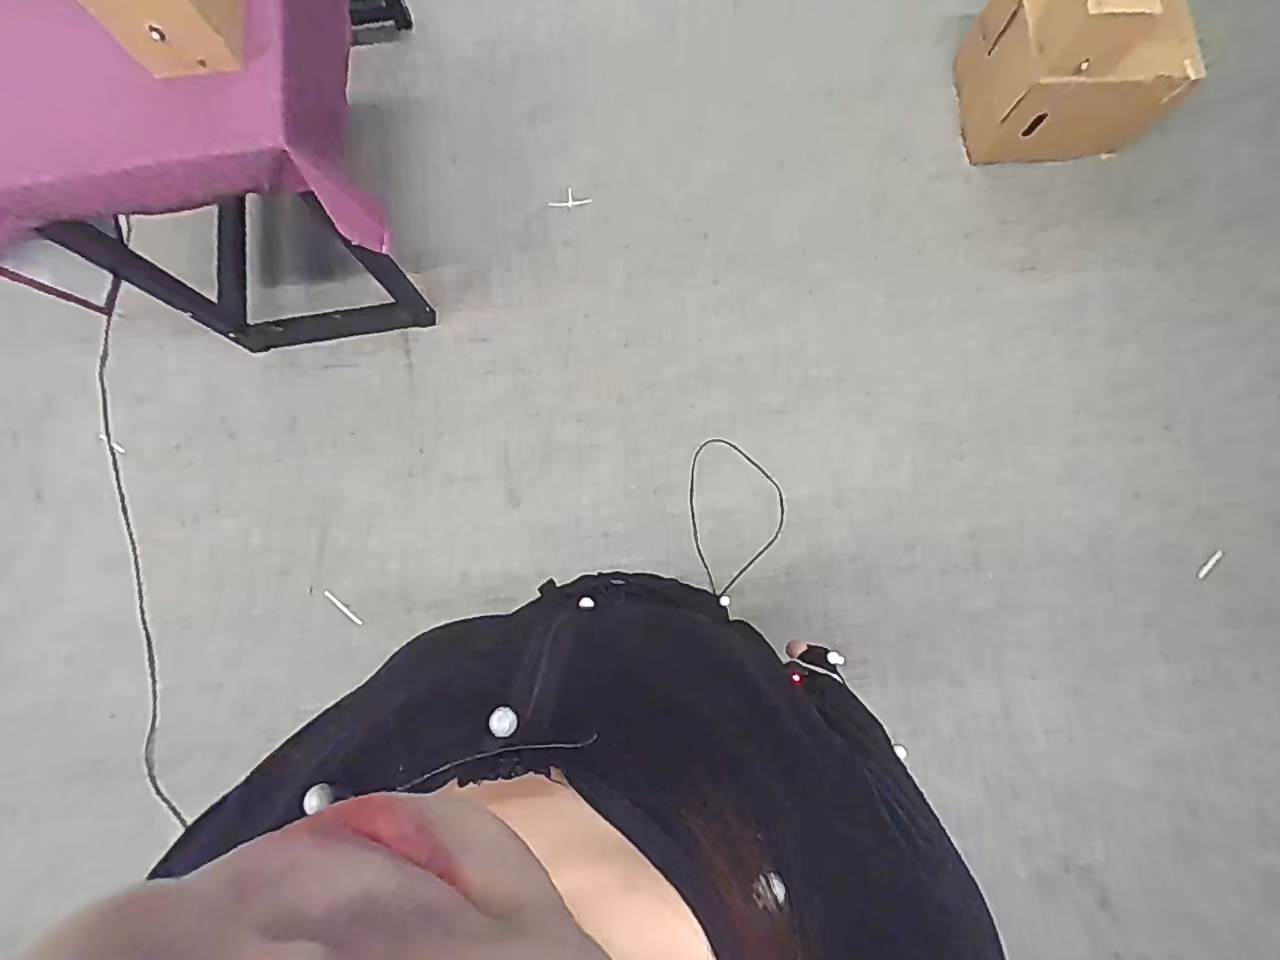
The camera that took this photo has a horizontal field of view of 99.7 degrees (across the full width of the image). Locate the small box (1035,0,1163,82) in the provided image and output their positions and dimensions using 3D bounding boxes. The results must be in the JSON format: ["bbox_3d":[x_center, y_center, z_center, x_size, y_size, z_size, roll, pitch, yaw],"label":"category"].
[{"bbox_3d":[1.147,-1.147,1.364,0.179,0.176,0.168,1,79,0],"label":"small box"}]

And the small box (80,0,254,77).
[{"bbox_3d":[-0.797,-0.825,0.918,0.168,0.176,0.179,-5,79,0],"label":"small box"}]
